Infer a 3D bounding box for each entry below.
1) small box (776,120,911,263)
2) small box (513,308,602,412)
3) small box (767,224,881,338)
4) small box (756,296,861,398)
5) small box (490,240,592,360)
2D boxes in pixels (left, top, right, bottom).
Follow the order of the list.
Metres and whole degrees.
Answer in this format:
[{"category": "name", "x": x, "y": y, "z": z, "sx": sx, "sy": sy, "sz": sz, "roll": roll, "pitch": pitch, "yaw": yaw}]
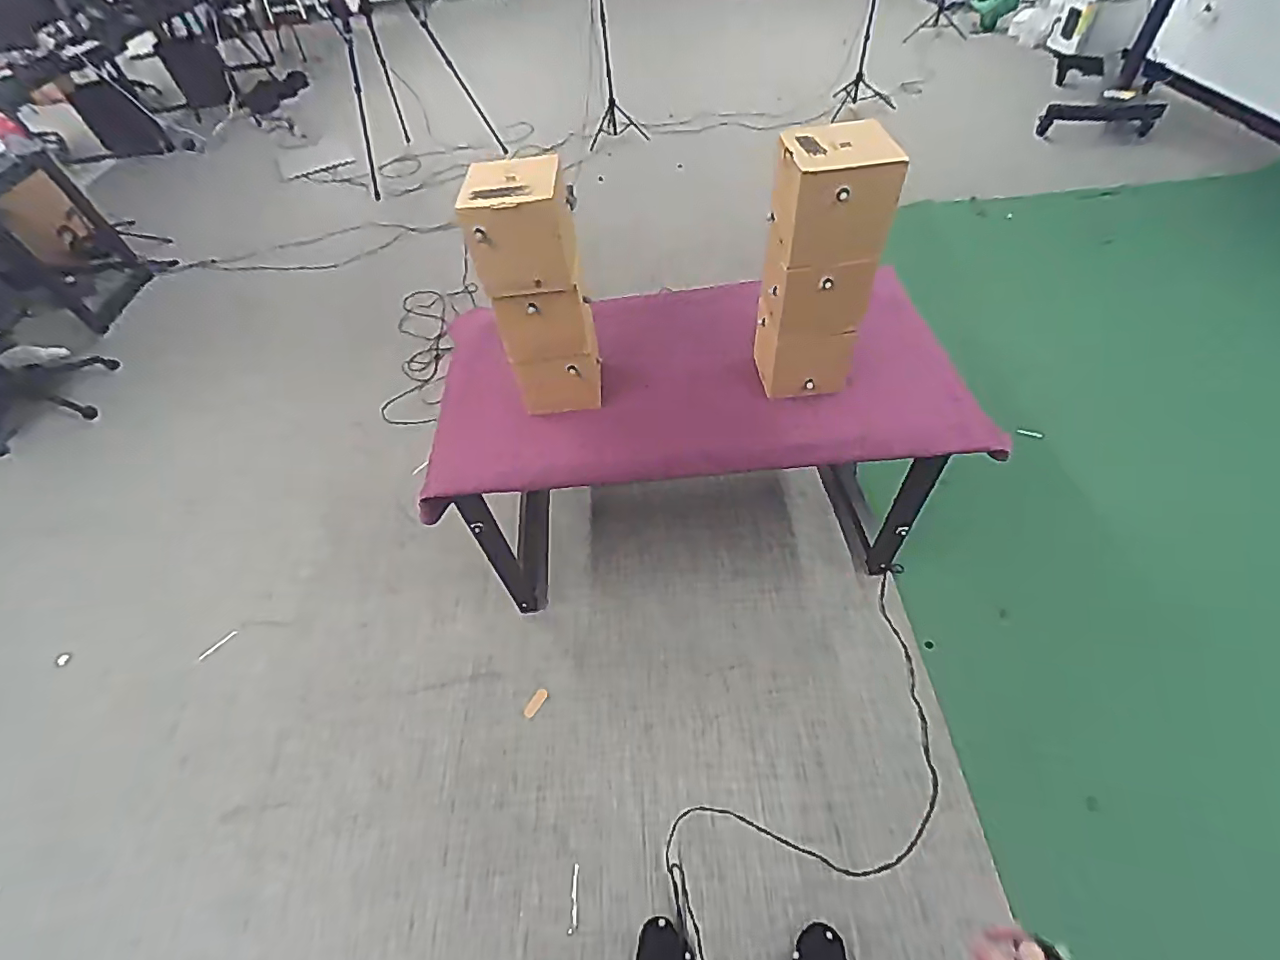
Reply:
[{"category": "small box", "x": 0.346, "y": -0.507, "z": 0.964, "sx": 0.179, "sy": 0.176, "sz": 0.168, "roll": -6, "pitch": 53, "yaw": 2}, {"category": "small box", "x": -0.183, "y": -0.276, "z": 1.257, "sx": 0.179, "sy": 0.176, "sz": 0.168, "roll": -5, "pitch": 52, "yaw": 2}, {"category": "small box", "x": 0.357, "y": -0.406, "z": 1.092, "sx": 0.179, "sy": 0.176, "sz": 0.168, "roll": -5, "pitch": 53, "yaw": 2}, {"category": "small box", "x": 0.370, "y": -0.305, "z": 1.221, "sx": 0.179, "sy": 0.176, "sz": 0.168, "roll": -6, "pitch": 52, "yaw": 1}, {"category": "small box", "x": -0.196, "y": -0.372, "z": 1.127, "sx": 0.179, "sy": 0.176, "sz": 0.168, "roll": -5, "pitch": 53, "yaw": 2}]
